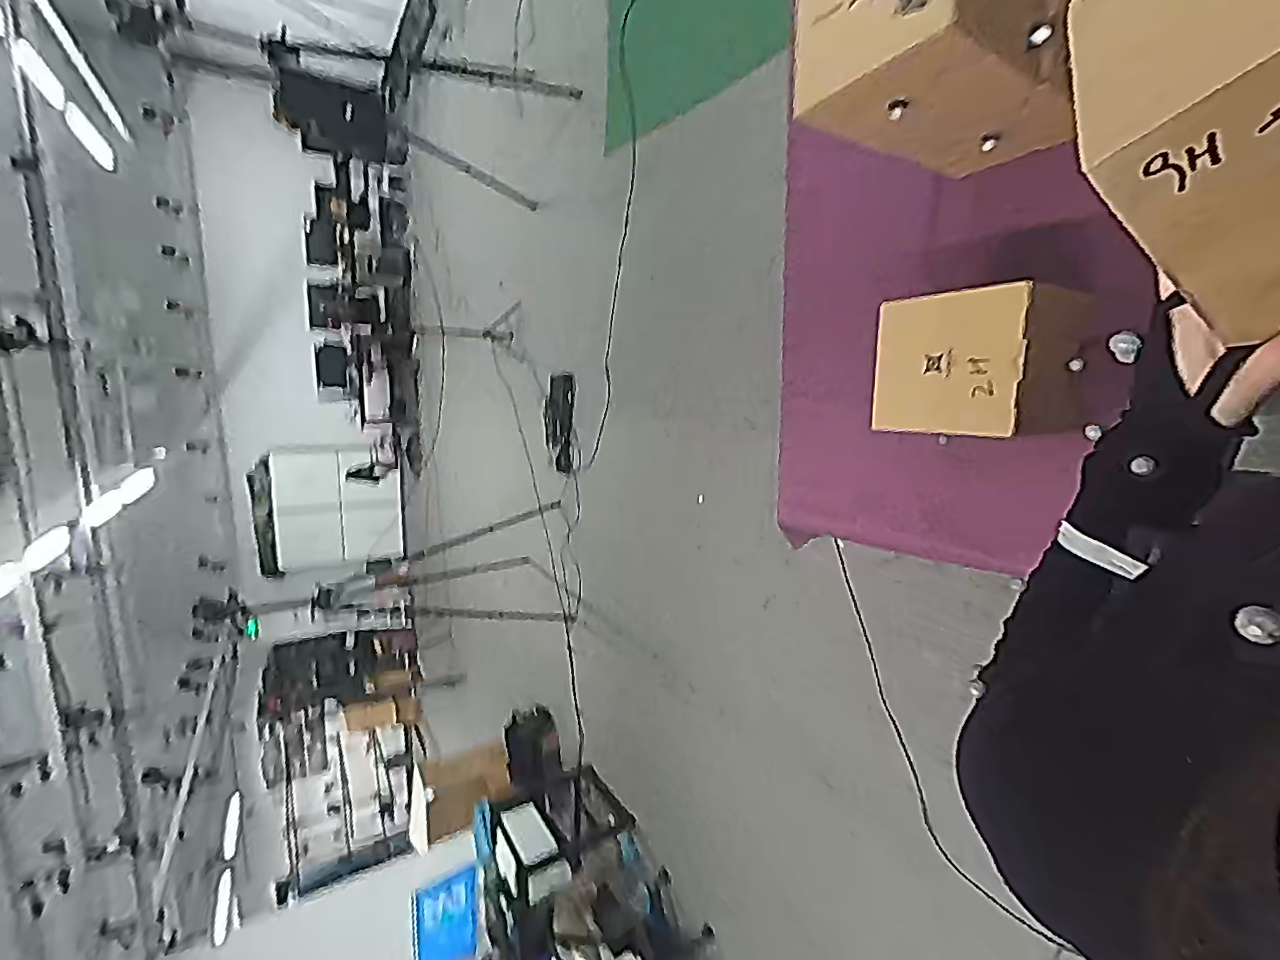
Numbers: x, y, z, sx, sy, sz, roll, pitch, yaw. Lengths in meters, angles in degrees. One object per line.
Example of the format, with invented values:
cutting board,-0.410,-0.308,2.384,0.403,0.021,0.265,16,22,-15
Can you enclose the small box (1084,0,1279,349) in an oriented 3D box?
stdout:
small box,0.349,-0.202,0.254,0.168,0.179,0.176,-26,41,56

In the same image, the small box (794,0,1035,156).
small box,0.287,-0.474,0.566,0.179,0.176,0.168,10,103,58

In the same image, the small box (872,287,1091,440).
small box,0.429,-0.139,0.691,0.179,0.176,0.168,12,105,56
